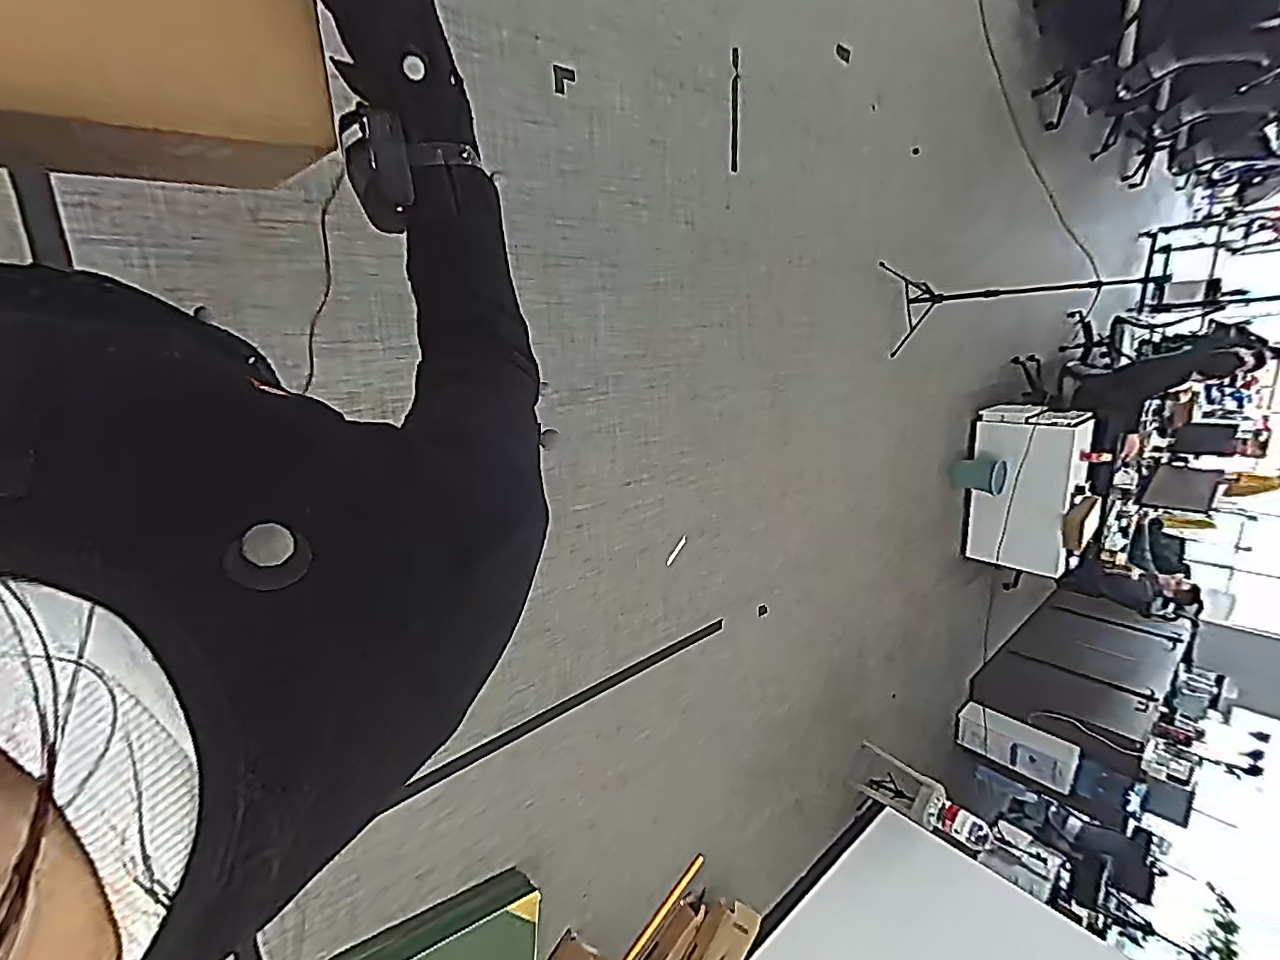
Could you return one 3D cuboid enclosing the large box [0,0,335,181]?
[{"bbox_3d":[-0.457,-0.368,0.304,0.408,0.320,0.320,-17,120,-36],"label":"large box"}]
